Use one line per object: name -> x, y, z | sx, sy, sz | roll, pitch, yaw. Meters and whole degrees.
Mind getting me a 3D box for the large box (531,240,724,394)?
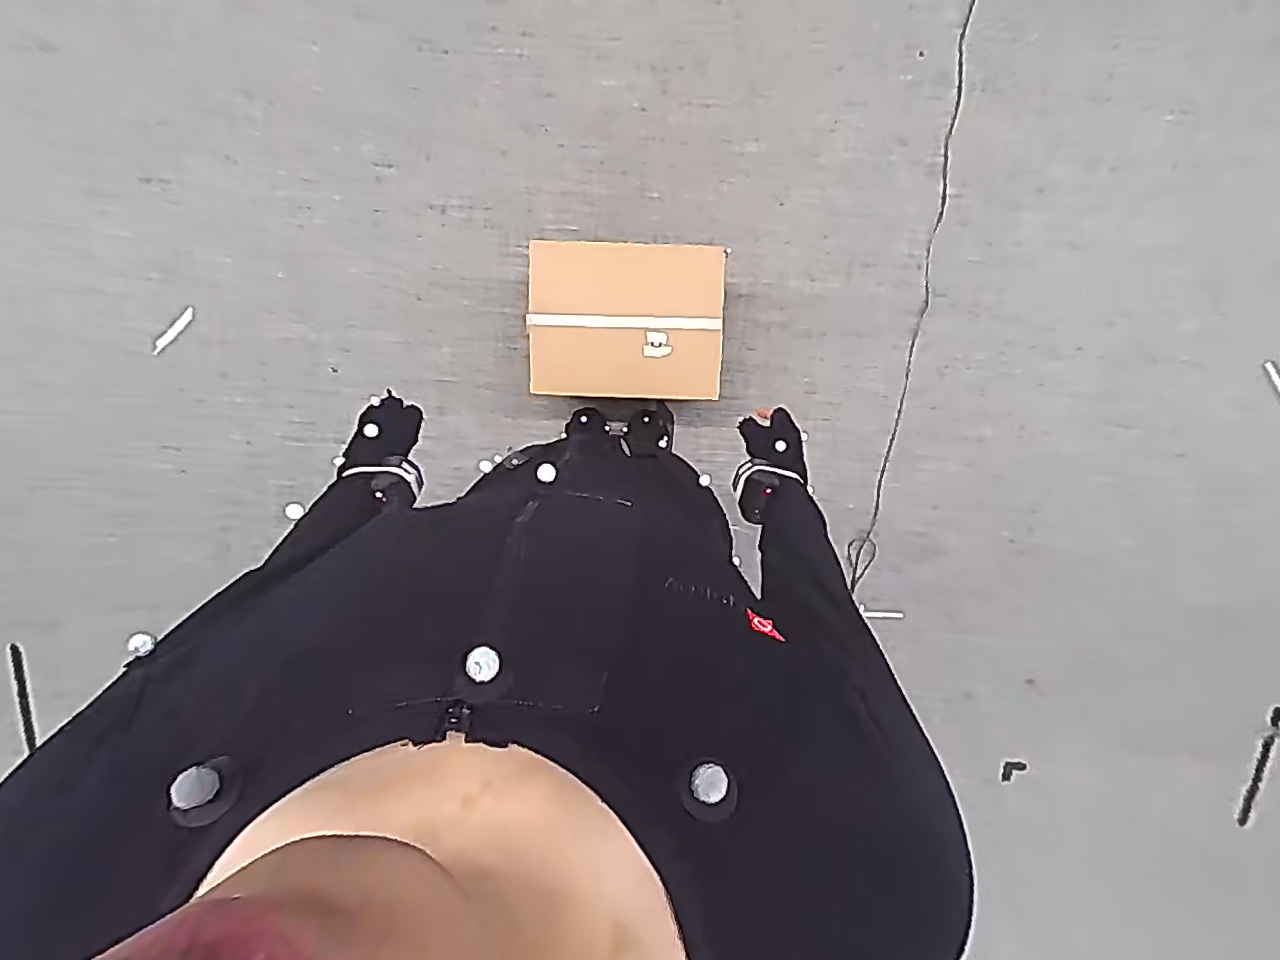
large box -> -0.030, -0.362, 1.283 | 0.408, 0.320, 0.320 | 1, 100, -1
